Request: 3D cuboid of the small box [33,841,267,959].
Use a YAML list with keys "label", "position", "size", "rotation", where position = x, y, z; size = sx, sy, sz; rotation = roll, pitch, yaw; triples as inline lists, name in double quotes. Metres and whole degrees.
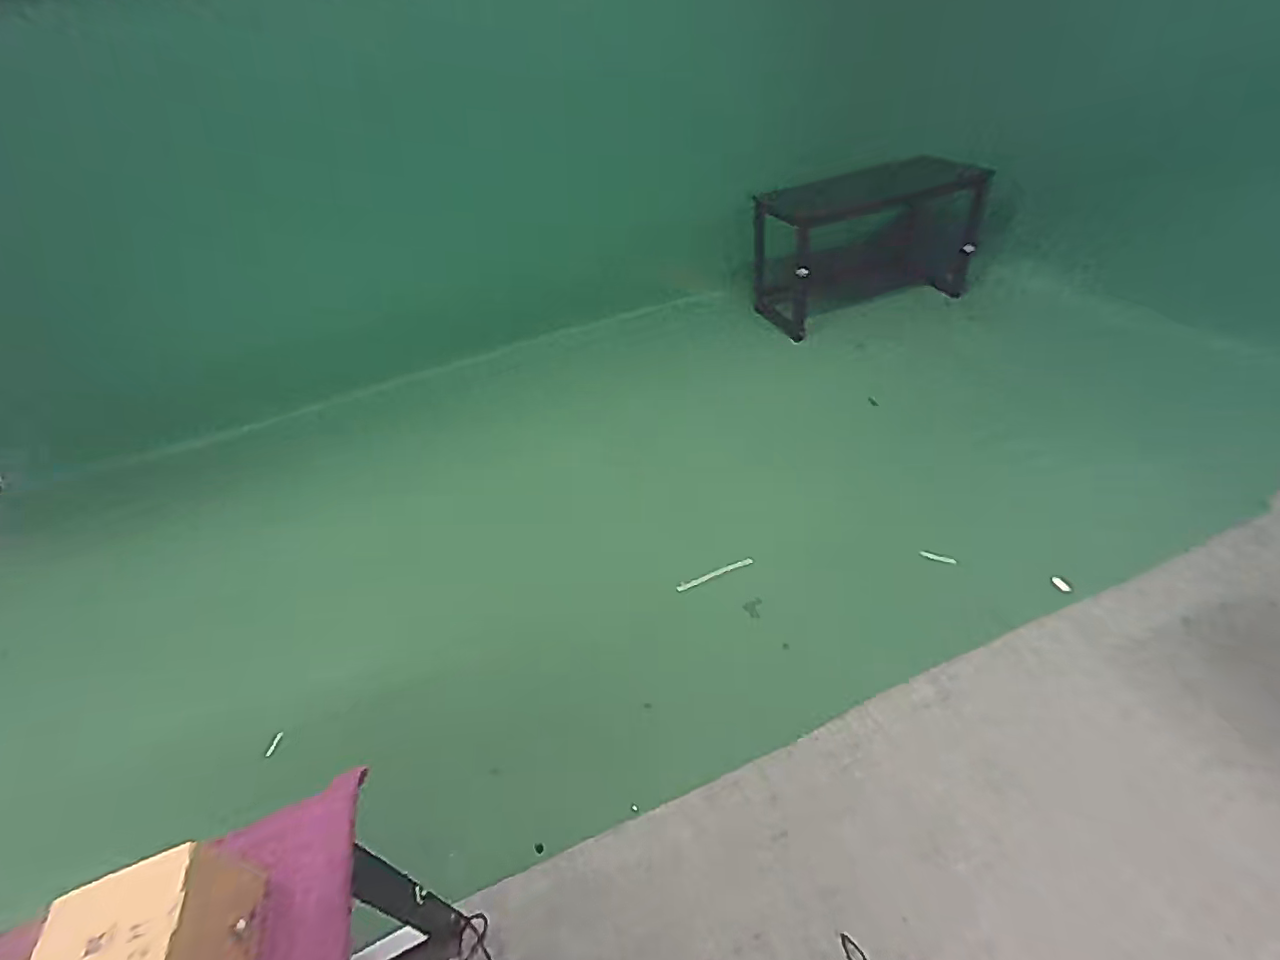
- label: "small box"
  position: [-0.642, 0.623, 0.711]
  size: [0.179, 0.176, 0.168]
  rotation: [-19, 42, -9]
